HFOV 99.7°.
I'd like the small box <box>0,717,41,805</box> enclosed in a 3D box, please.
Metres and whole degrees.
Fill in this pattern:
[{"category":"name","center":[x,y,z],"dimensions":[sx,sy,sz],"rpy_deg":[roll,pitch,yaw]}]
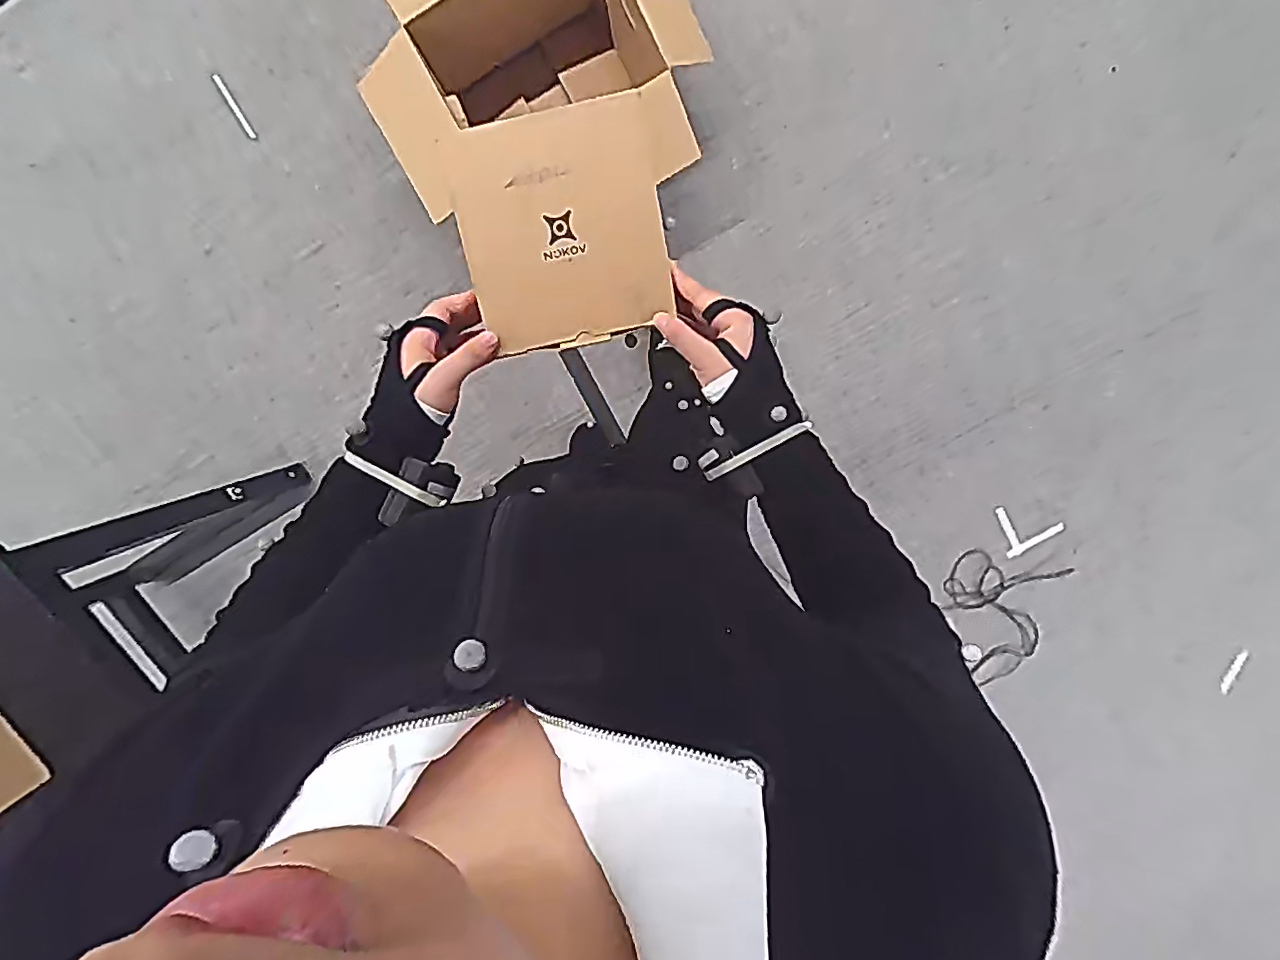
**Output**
[{"category":"small box","center":[-0.994,0.415,0.722],"dimensions":[0.168,0.176,0.179],"rpy_deg":[-26,102,5]}]

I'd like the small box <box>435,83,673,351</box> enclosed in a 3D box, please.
[{"category":"small box","center":[-0.064,-0.230,0.515],"dimensions":[0.168,0.176,0.179],"rpy_deg":[-11,106,3]}]
